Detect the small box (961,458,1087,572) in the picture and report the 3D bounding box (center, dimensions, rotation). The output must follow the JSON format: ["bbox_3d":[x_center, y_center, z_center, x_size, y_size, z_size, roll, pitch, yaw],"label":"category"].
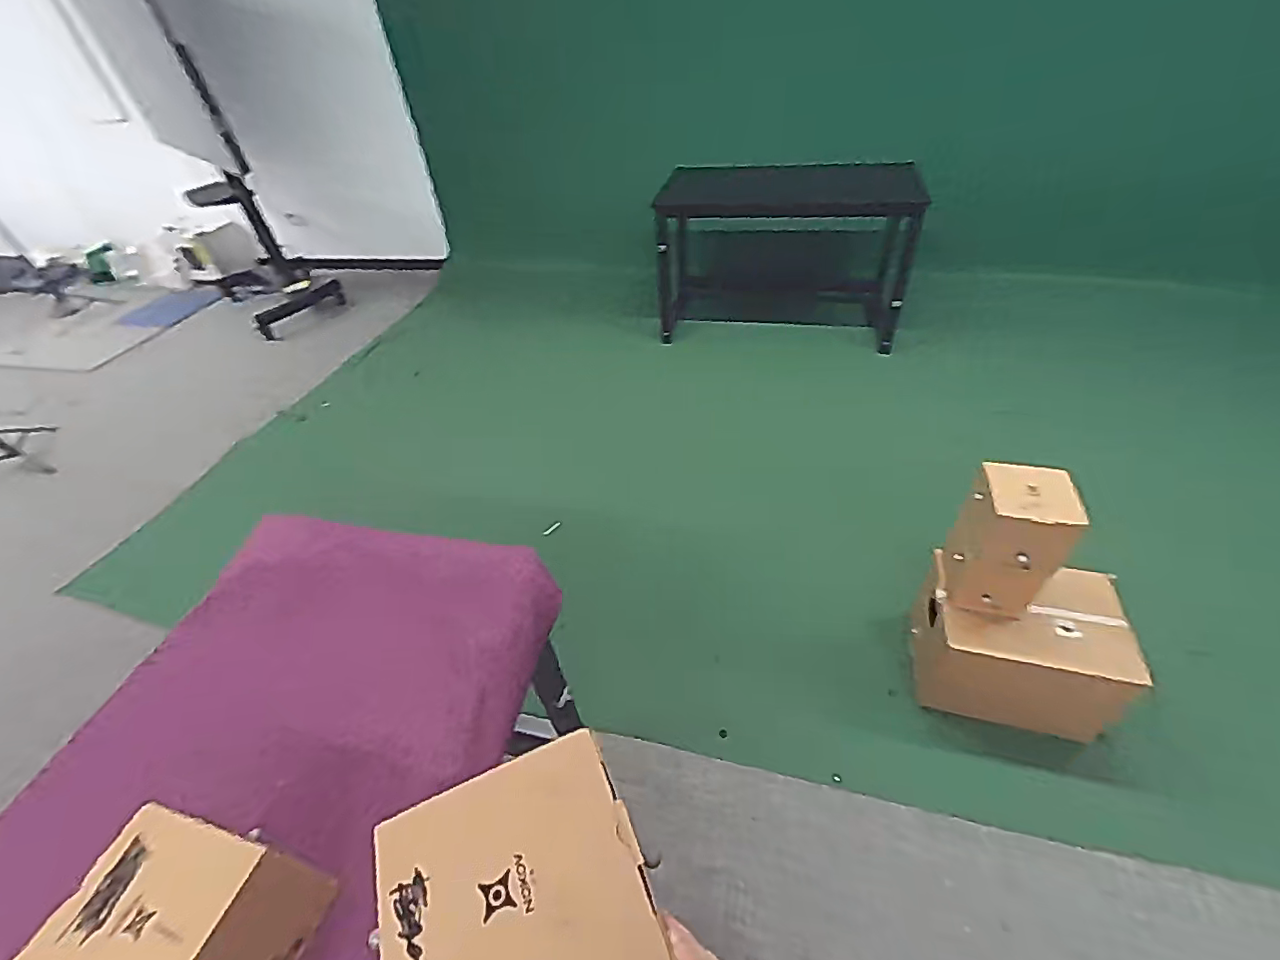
[{"bbox_3d":[0.841,0.077,1.206,0.168,0.176,0.179,7,44,14],"label":"small box"}]

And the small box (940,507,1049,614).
[{"bbox_3d":[0.852,0.196,1.319,0.168,0.176,0.179,8,44,15],"label":"small box"}]

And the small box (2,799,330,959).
[{"bbox_3d":[-0.481,0.473,0.570,0.179,0.176,0.168,8,45,15],"label":"small box"}]

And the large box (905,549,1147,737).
[{"bbox_3d":[0.960,0.421,1.420,0.408,0.320,0.320,8,45,15],"label":"large box"}]

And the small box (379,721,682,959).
[{"bbox_3d":[-0.077,0.326,0.414,0.179,0.176,0.168,-18,43,-13],"label":"small box"}]
